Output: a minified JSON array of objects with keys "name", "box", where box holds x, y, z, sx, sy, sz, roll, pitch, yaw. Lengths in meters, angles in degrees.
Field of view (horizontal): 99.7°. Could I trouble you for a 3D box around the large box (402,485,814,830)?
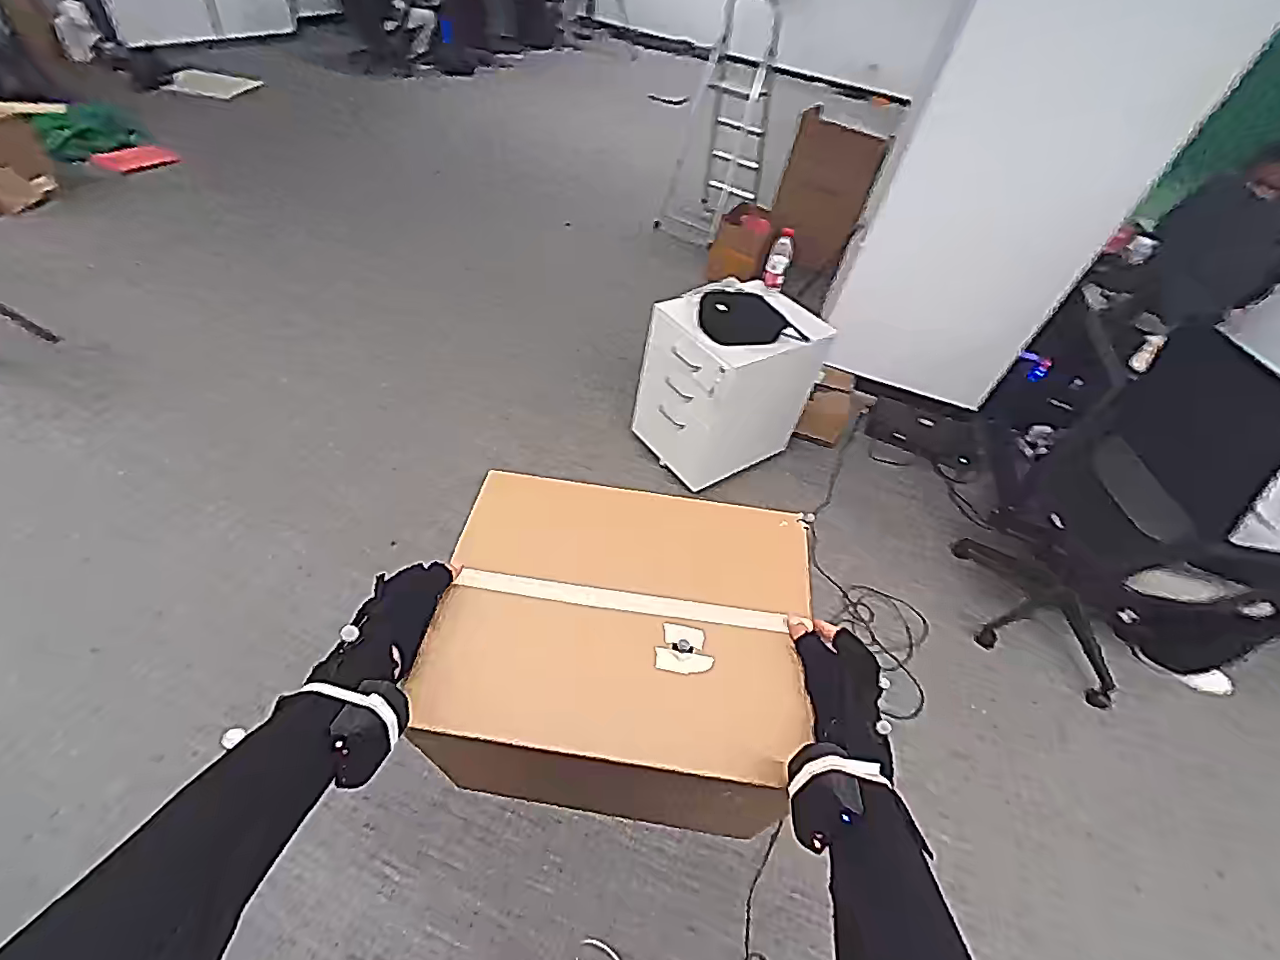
[{"name":"large box","box":[-0.027,0.239,0.717,0.408,0.320,0.320,8,51,2]}]
